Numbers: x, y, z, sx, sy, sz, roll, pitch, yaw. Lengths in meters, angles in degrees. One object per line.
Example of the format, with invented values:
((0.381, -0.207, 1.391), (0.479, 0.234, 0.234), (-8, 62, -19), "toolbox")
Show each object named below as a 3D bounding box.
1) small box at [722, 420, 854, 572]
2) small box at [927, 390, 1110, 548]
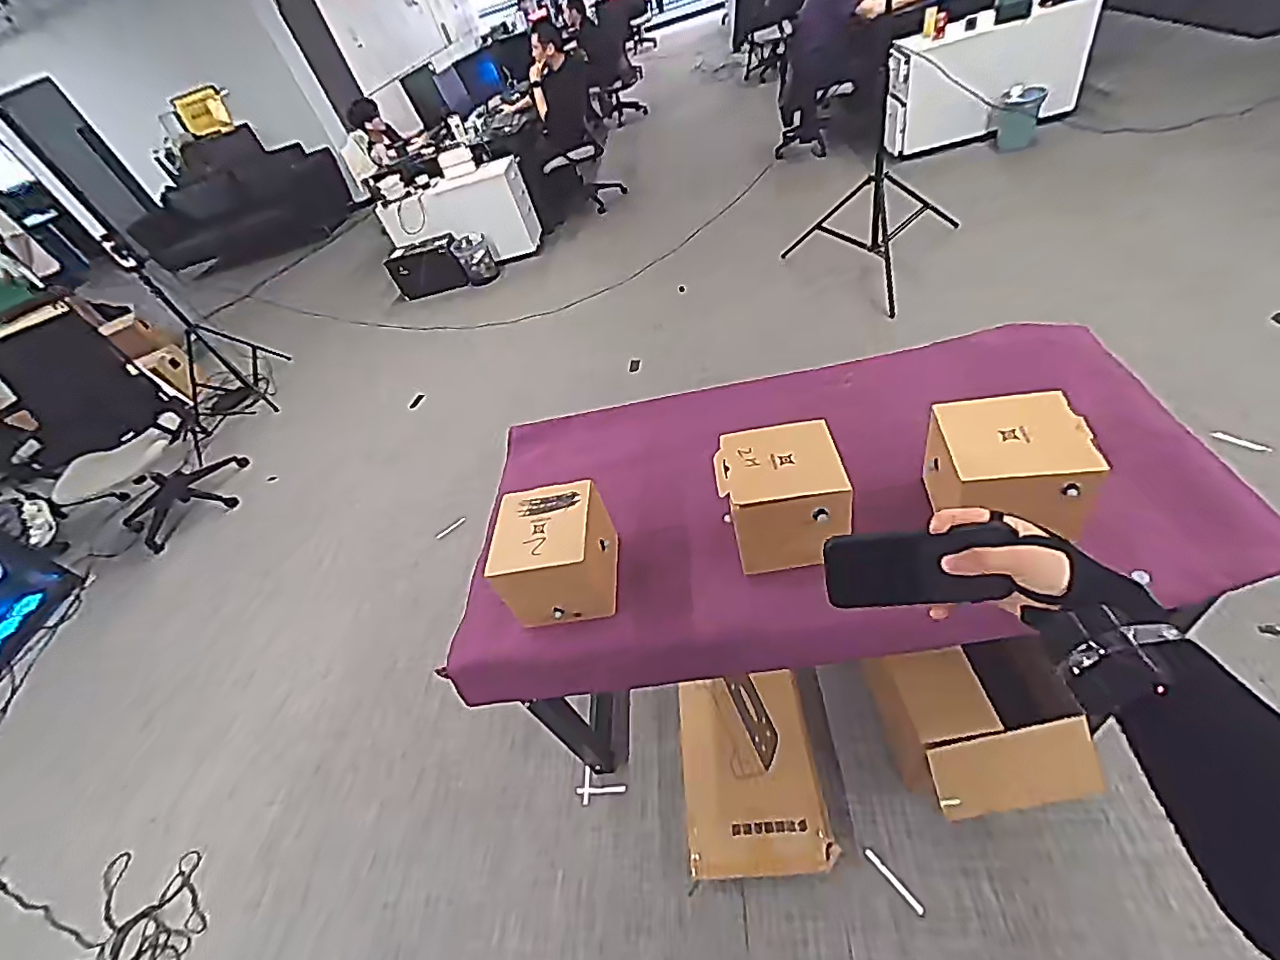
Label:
((0.239, 0.029, 0.888), (0.179, 0.176, 0.168), (-11, 42, 10), "small box")
((0.547, -0.011, 0.817), (0.179, 0.176, 0.168), (-5, 46, 15), "small box")
